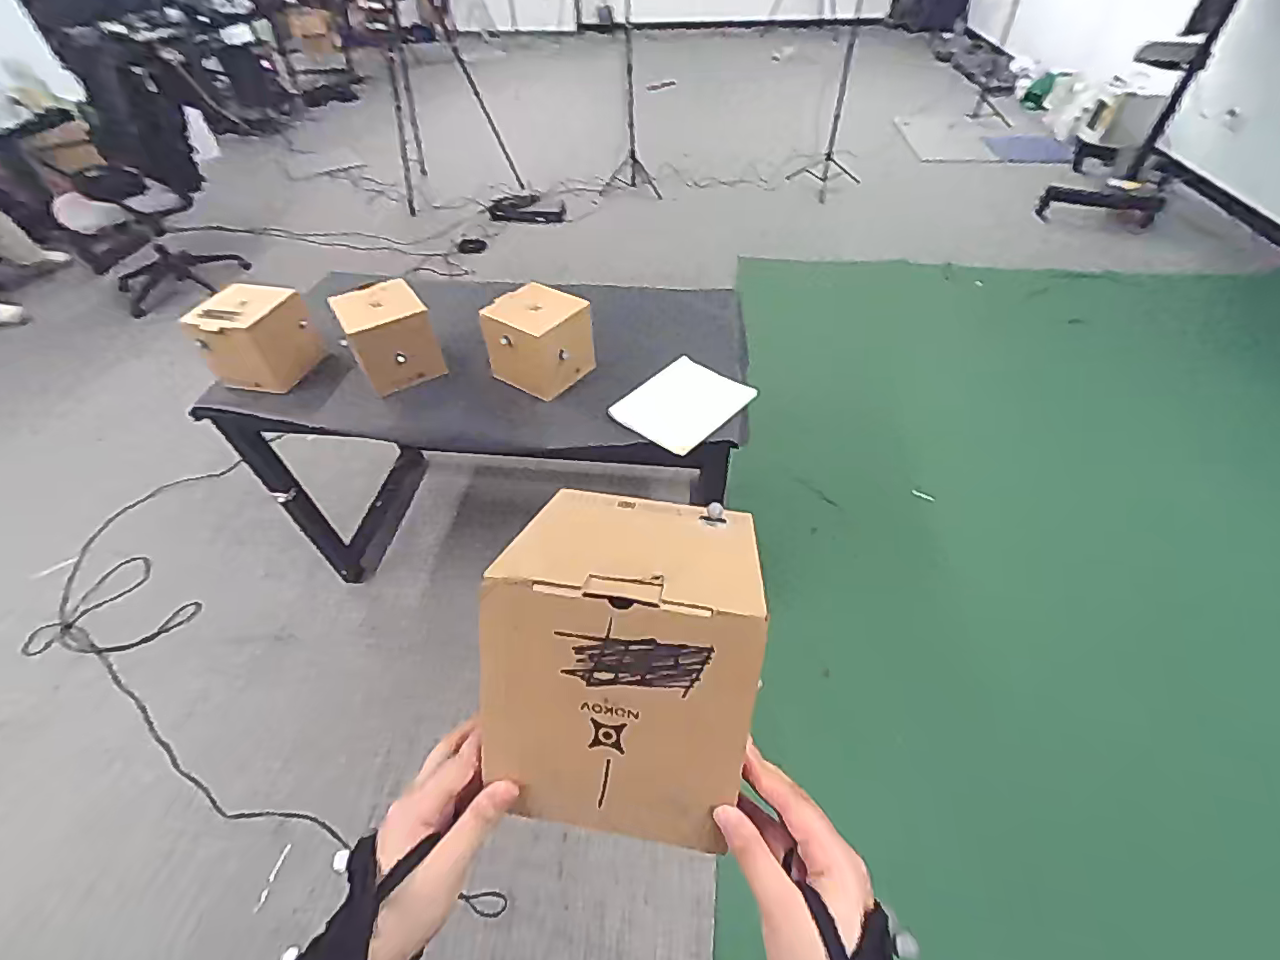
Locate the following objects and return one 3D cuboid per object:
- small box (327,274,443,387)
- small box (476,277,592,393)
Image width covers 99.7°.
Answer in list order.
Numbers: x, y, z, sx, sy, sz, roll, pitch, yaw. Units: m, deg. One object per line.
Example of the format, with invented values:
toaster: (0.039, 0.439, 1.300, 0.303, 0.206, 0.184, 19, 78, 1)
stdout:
small box: (-0.567, -0.331, 1.218, 0.168, 0.176, 0.179, -27, 52, -22)
small box: (-0.224, -0.316, 1.193, 0.179, 0.176, 0.168, 27, 54, 25)
